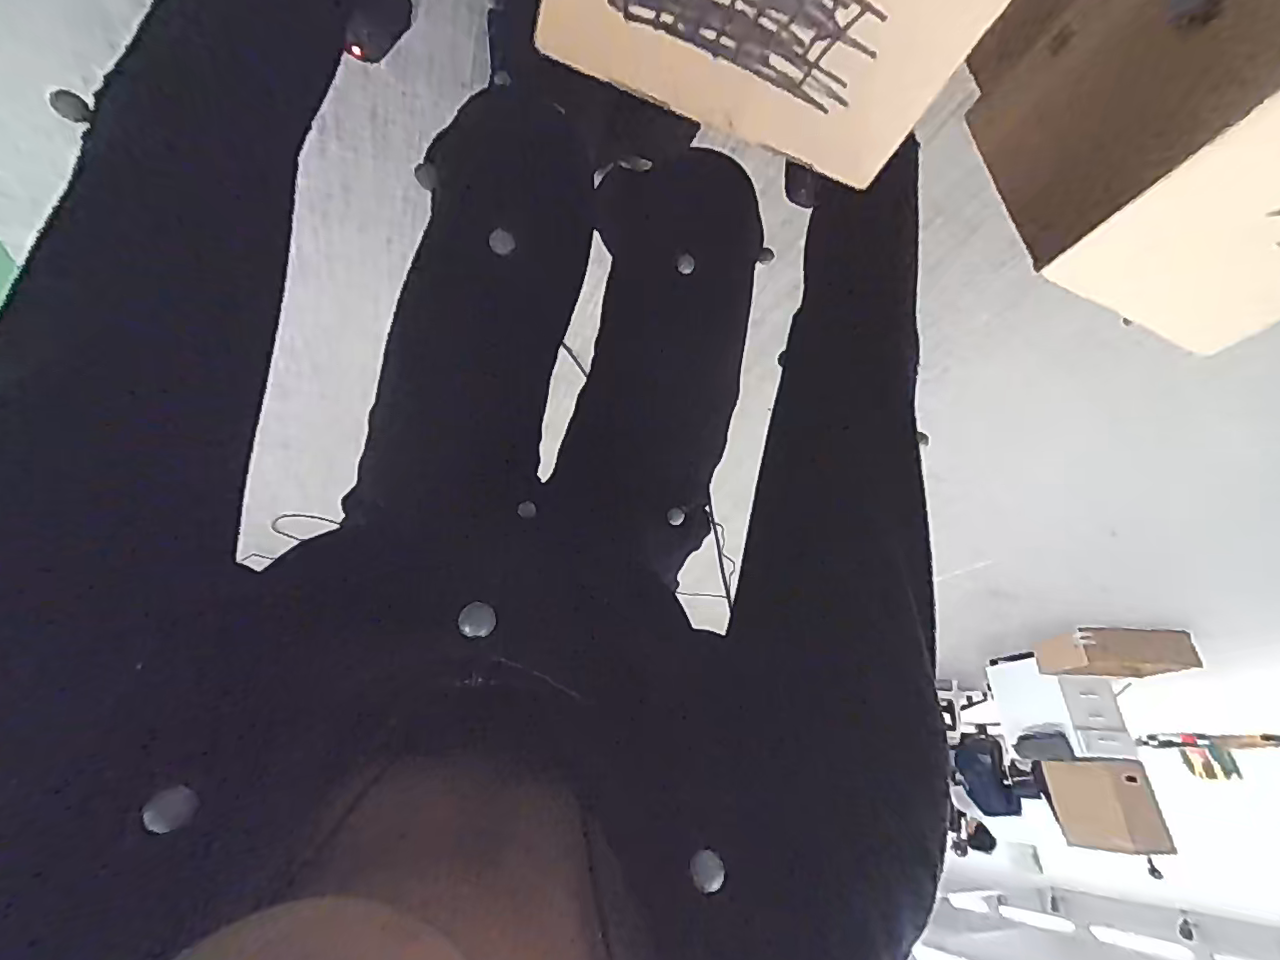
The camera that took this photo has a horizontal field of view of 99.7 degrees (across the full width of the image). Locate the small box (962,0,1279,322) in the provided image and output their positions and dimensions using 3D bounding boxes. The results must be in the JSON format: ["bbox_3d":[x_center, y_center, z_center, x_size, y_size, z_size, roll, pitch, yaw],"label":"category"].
[{"bbox_3d":[0.331,-0.231,0.315,0.179,0.176,0.168,12,150,-21],"label":"small box"}]
